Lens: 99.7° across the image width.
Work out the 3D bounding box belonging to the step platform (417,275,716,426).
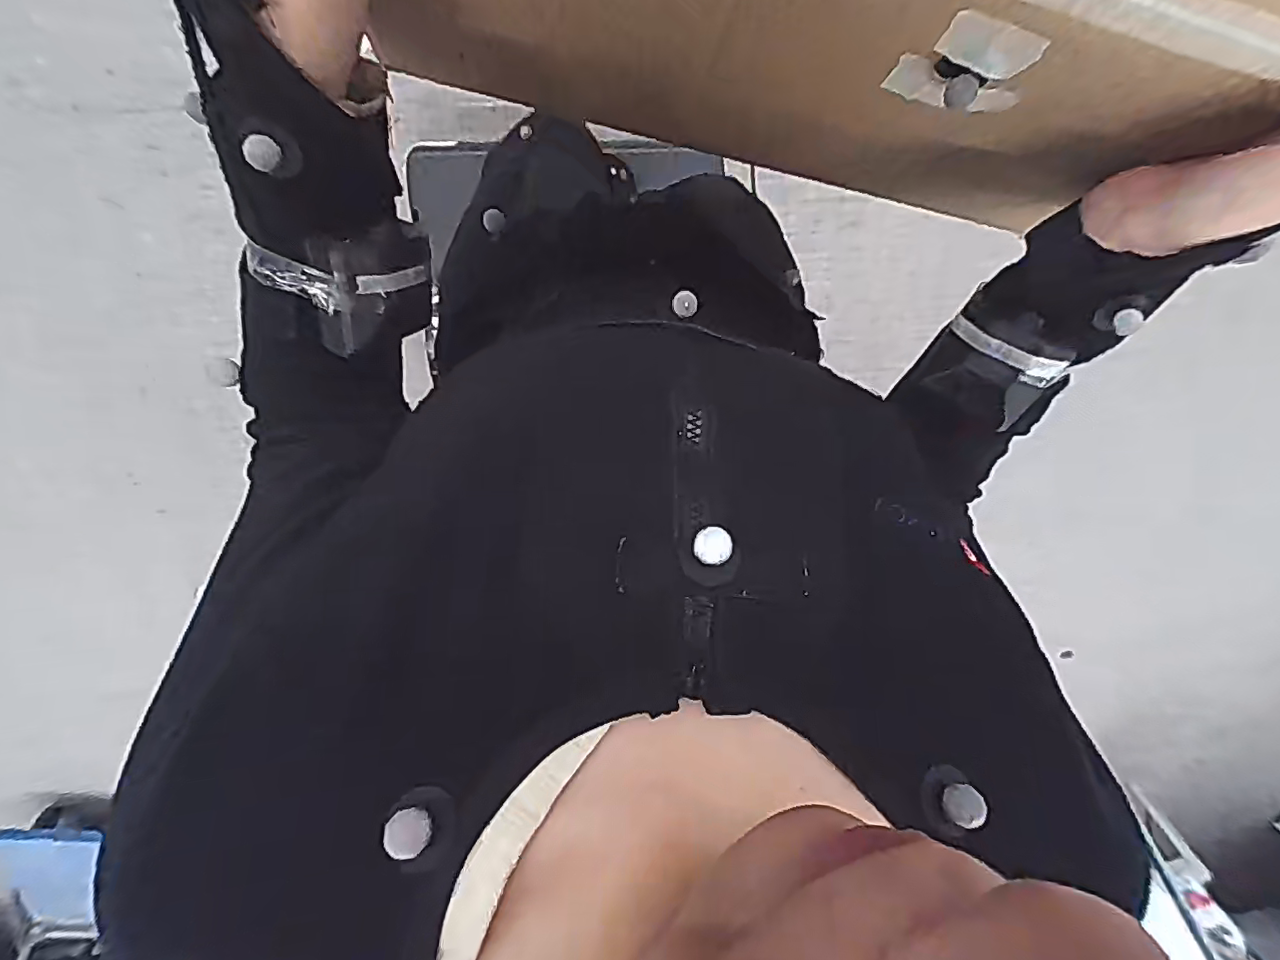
[{"bbox_3d":[-0.164,-0.301,1.292,0.684,0.204,0.286,2,123,-7],"label":"step platform"}]
